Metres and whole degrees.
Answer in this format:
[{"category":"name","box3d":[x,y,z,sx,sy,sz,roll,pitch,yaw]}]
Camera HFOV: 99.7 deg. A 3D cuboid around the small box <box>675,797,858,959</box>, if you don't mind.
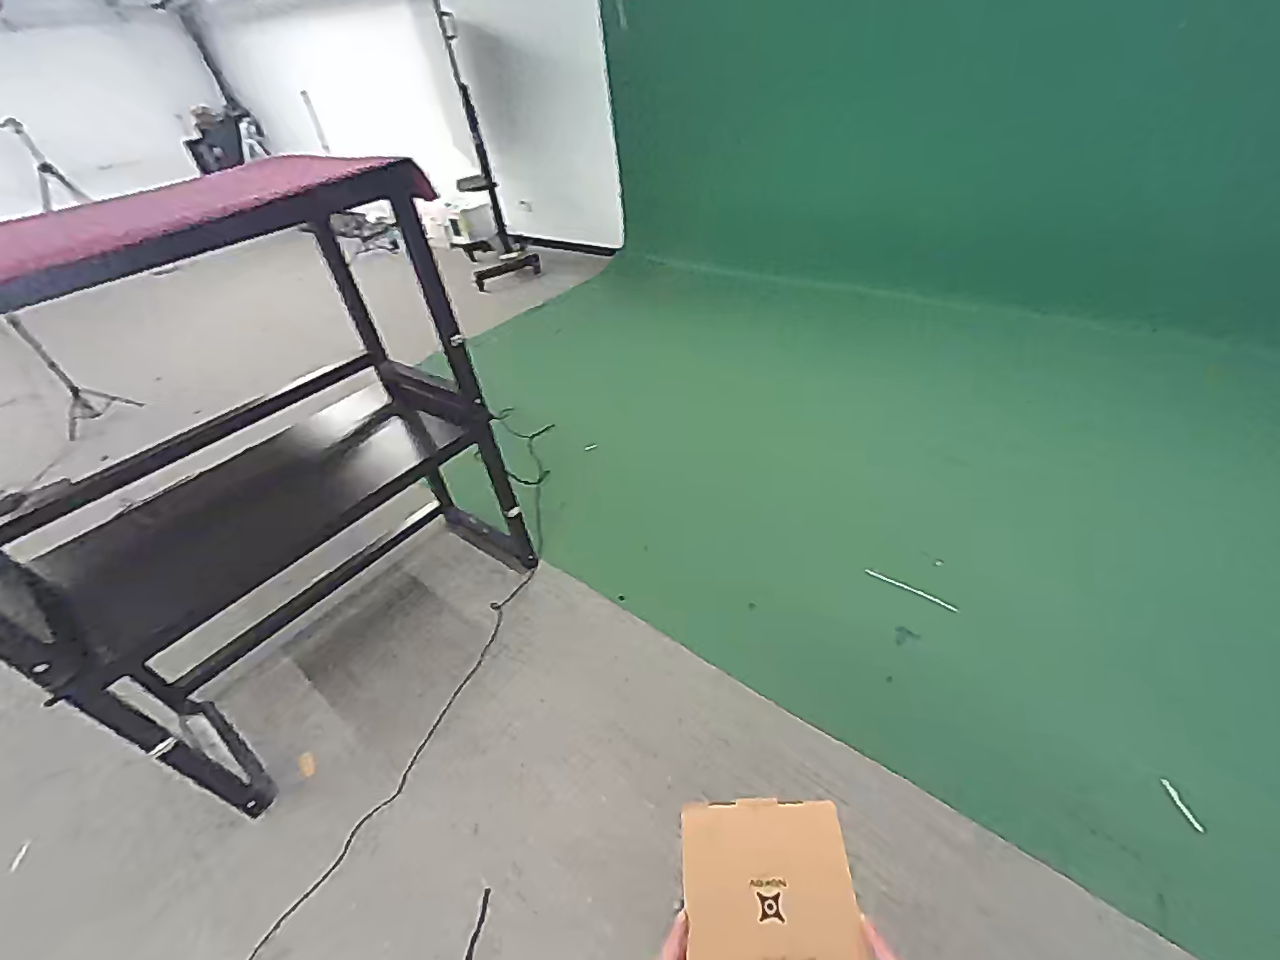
[{"category":"small box","box3d":[0.123,0.462,0.575,0.168,0.176,0.179,-4,43,5]}]
